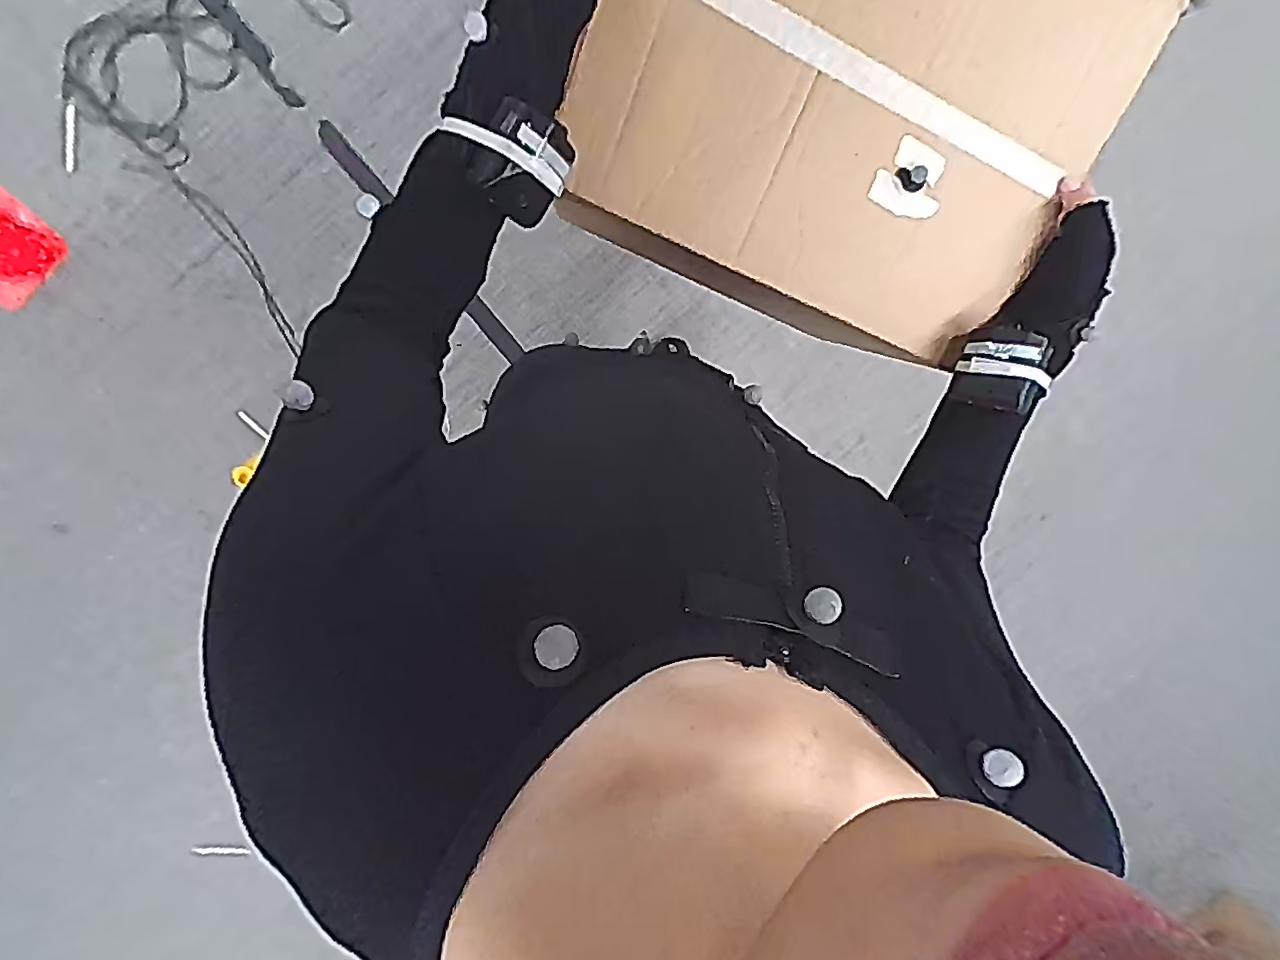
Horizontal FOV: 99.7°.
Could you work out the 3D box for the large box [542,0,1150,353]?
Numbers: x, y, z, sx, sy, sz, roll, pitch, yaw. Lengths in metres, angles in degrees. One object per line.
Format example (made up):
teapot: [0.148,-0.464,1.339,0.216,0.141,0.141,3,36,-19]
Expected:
large box: [0.141,-0.356,0.544,0.408,0.320,0.320,18,108,-13]

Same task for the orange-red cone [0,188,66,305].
orange-red cone: [-1.352,-0.465,0.997,0.198,0.360,0.199,-43,107,4]
